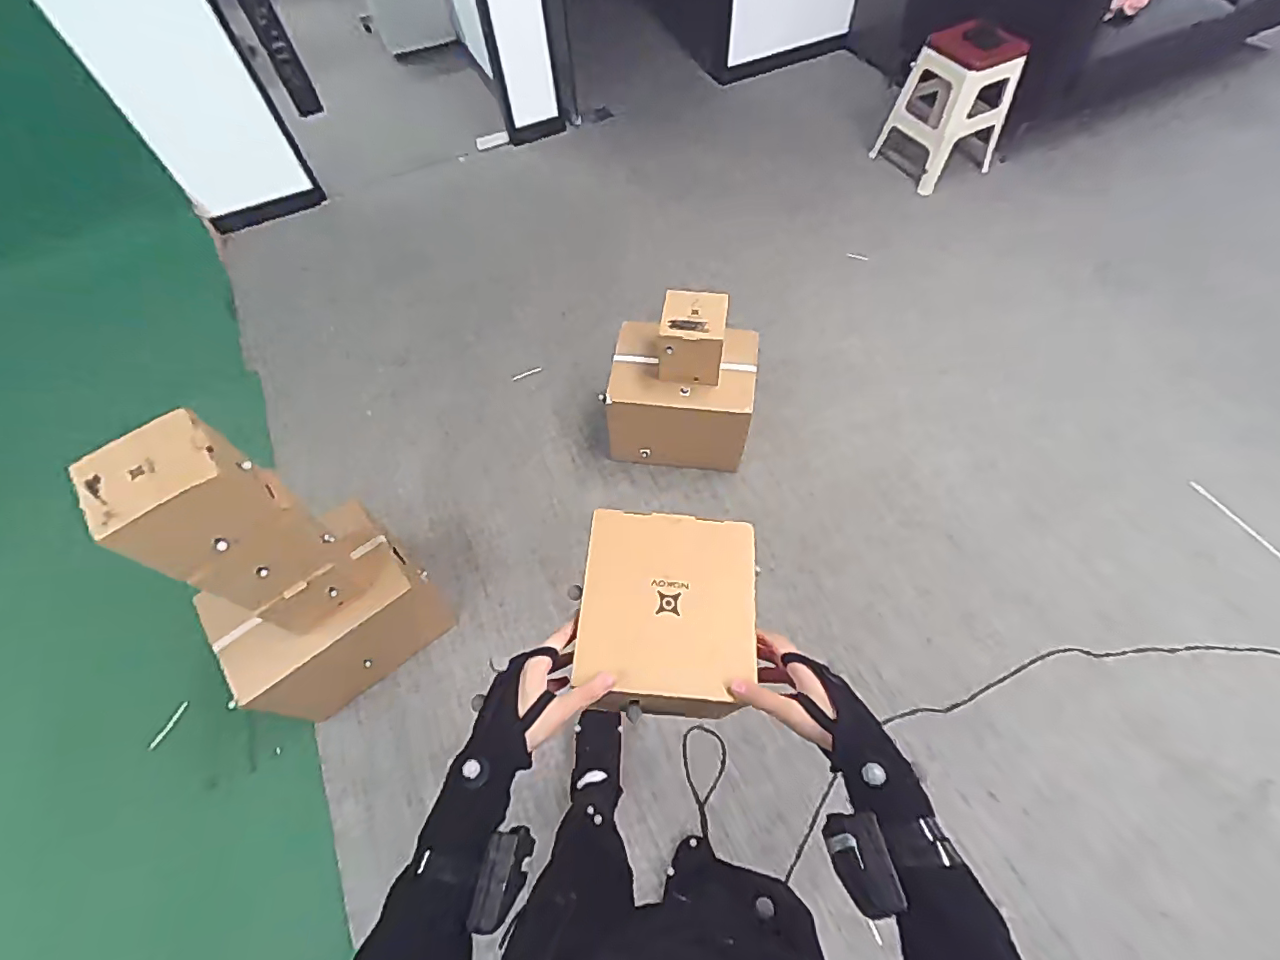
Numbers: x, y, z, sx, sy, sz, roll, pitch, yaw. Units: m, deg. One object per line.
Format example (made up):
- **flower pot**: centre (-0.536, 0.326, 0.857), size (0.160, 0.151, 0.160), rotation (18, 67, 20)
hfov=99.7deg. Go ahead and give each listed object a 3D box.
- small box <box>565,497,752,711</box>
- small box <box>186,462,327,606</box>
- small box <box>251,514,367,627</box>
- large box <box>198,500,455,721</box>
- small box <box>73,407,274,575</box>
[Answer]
- **small box**: centre (0.020, 0.140, 0.577), size (0.168, 0.176, 0.179), rotation (6, 59, 0)
- **small box**: centre (-0.727, 0.105, 1.018), size (0.179, 0.176, 0.168), rotation (-37, 65, -18)
- **small box**: centre (-0.723, 0.192, 1.156), size (0.168, 0.176, 0.179), rotation (-36, 64, -18)
- **large box**: centre (-0.756, 0.332, 1.359), size (0.408, 0.320, 0.320), rotation (-37, 64, -17)
- **small box**: centre (-0.736, 0.021, 0.877), size (0.179, 0.176, 0.168), rotation (-35, 64, -19)
